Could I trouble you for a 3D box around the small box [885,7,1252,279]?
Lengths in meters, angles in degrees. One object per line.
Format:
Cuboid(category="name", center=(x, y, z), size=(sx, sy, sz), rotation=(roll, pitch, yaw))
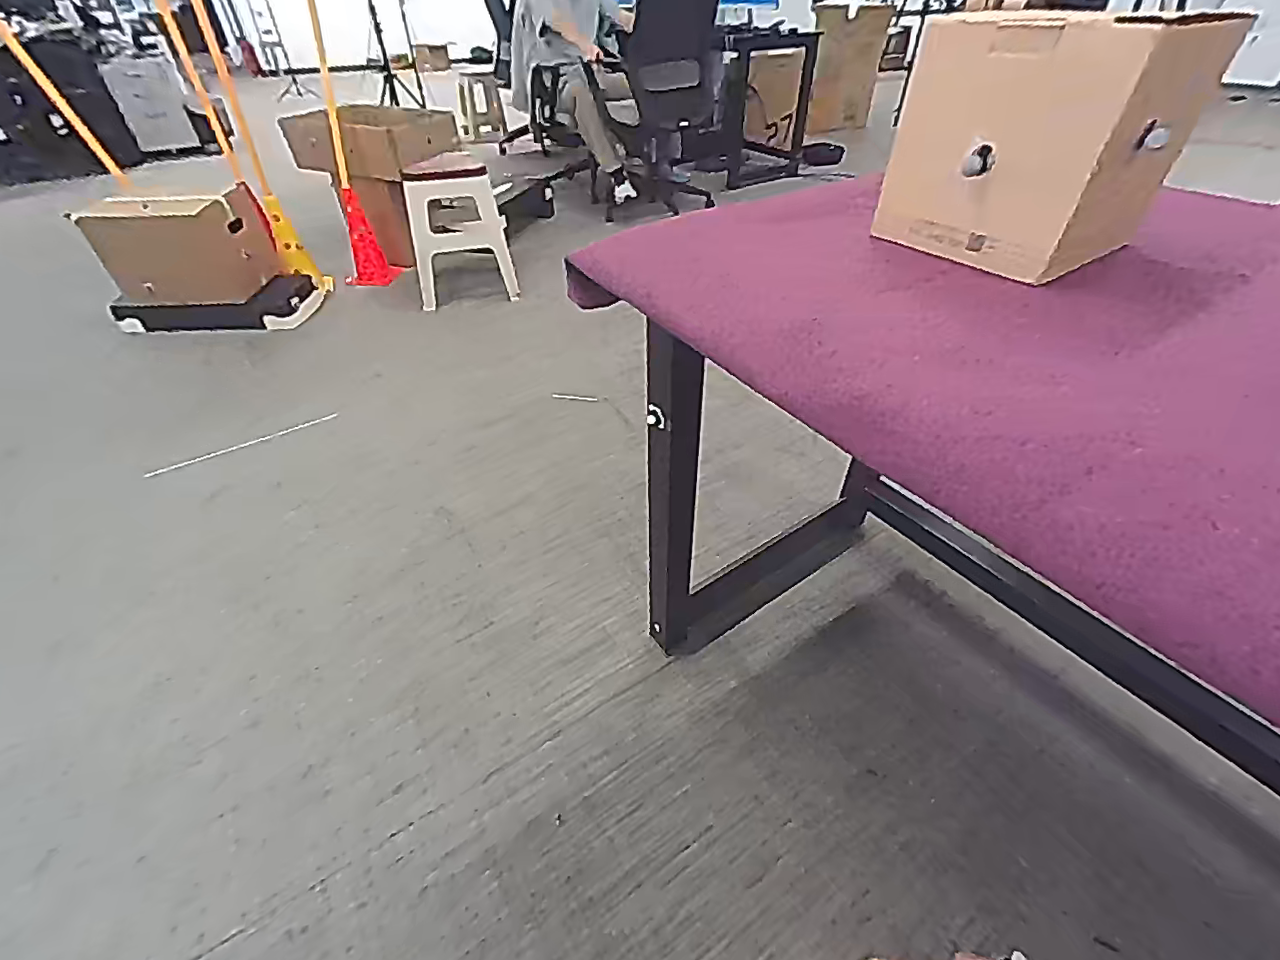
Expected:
Cuboid(category="small box", center=(0.341, -0.292, 0.468), size=(0.179, 0.176, 0.168), rotation=(-26, 48, -25))
